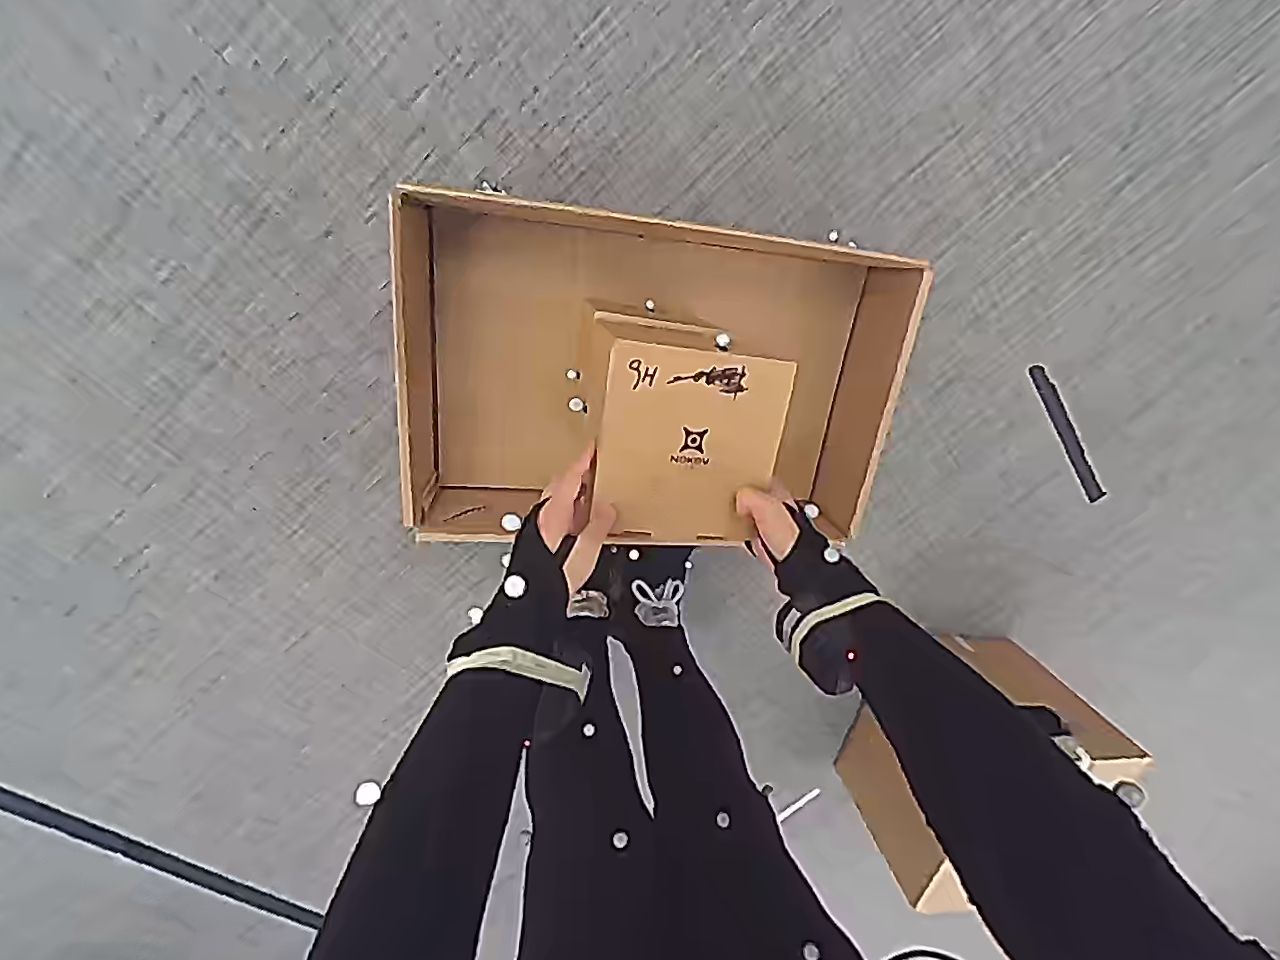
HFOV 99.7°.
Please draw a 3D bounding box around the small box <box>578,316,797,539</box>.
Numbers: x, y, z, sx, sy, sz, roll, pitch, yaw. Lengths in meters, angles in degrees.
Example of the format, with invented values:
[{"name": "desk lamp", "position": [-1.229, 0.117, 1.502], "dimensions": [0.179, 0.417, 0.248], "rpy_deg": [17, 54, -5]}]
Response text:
[{"name": "small box", "position": [0.030, -0.059, 0.553], "dimensions": [0.168, 0.176, 0.179], "rpy_deg": [4, 111, -14]}]
